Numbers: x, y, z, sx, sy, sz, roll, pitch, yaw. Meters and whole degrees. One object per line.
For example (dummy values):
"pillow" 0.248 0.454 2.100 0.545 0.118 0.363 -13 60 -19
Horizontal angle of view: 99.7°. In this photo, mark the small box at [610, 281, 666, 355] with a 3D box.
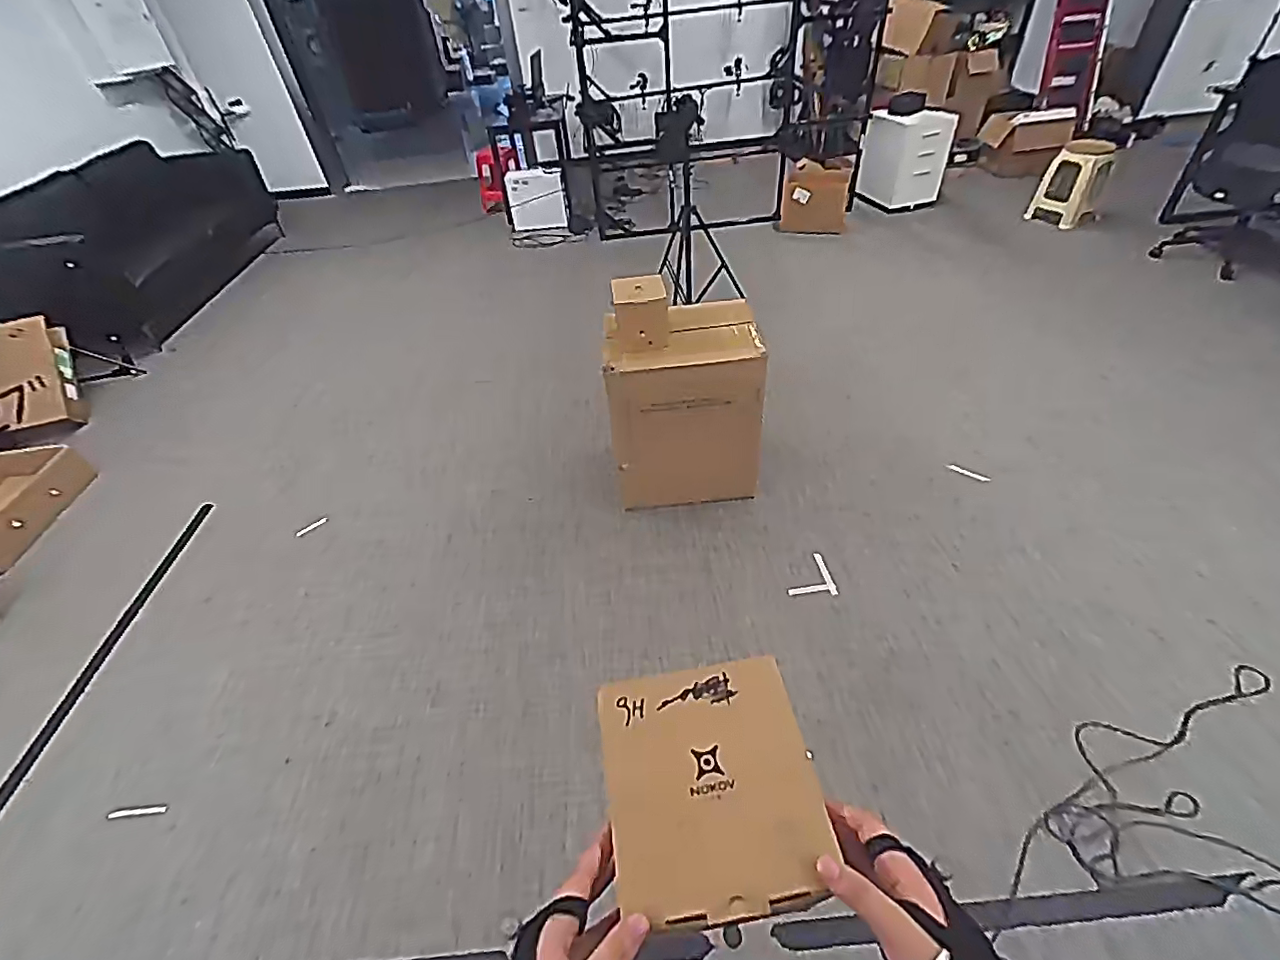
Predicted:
"small box" -0.006 -0.532 1.772 0.168 0.176 0.179 -7 44 -1
